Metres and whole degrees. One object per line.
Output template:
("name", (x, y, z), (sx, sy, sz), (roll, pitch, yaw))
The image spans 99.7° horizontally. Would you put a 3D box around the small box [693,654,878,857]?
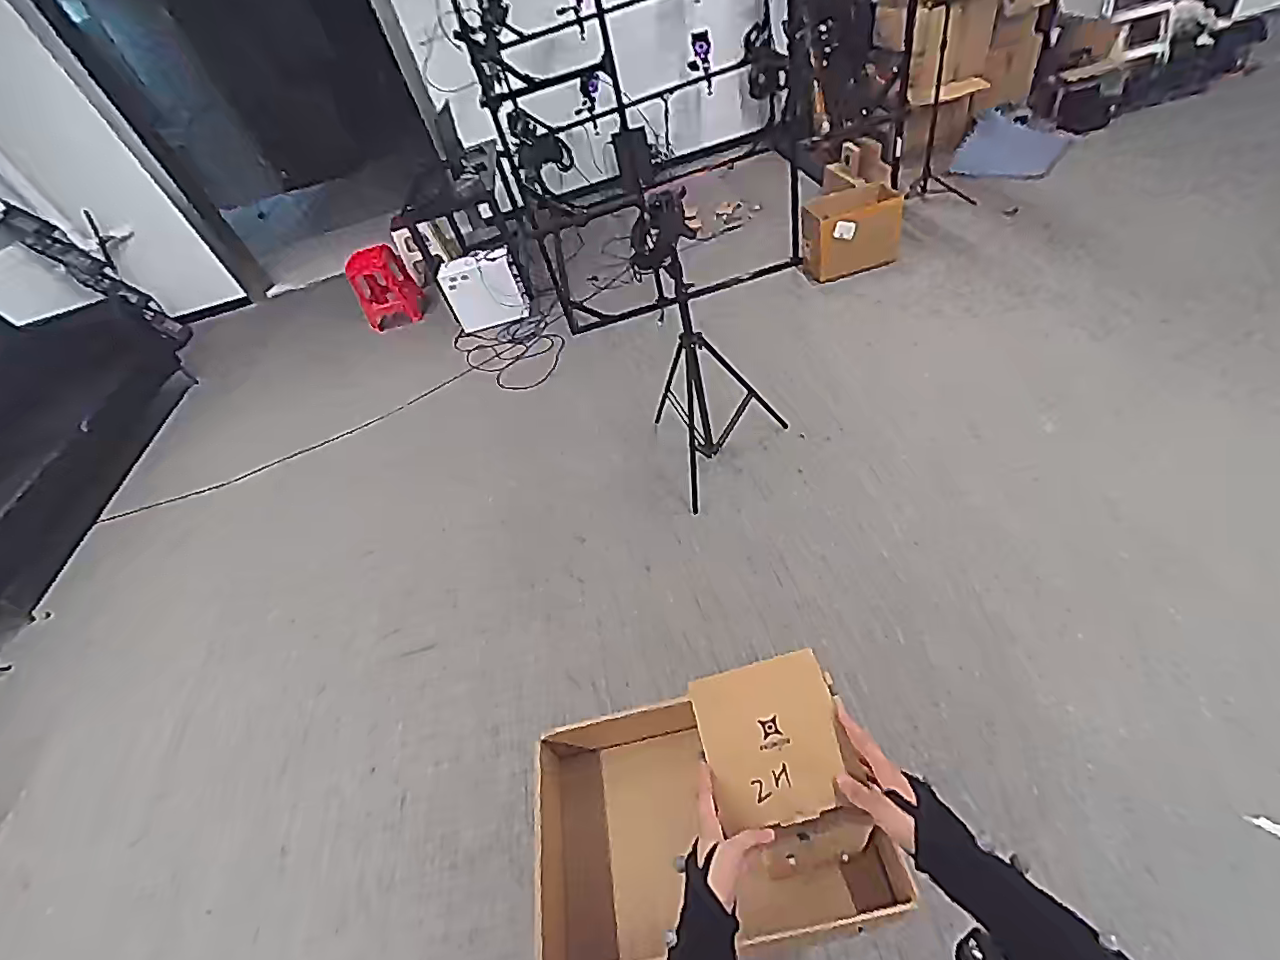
("small box", (0.177, 0.351, 0.685), (0.168, 0.176, 0.179), (-18, 49, 5))
